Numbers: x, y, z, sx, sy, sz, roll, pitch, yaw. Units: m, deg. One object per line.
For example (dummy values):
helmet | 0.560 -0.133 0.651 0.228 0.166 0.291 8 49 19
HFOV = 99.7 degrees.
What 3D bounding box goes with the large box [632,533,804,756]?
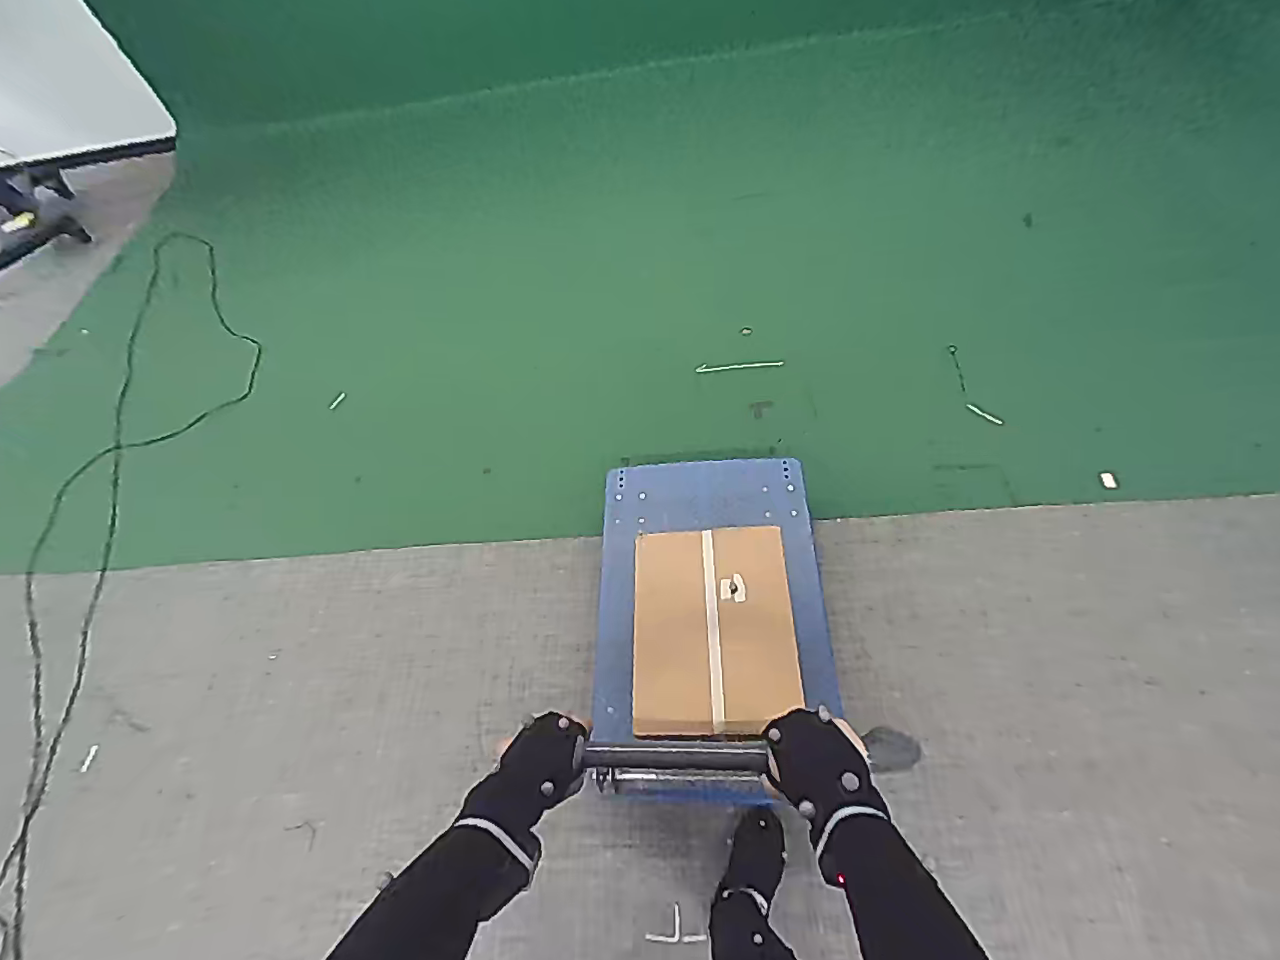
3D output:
large box | 0.164 0.373 1.201 0.320 0.320 0.408 -4 57 8
